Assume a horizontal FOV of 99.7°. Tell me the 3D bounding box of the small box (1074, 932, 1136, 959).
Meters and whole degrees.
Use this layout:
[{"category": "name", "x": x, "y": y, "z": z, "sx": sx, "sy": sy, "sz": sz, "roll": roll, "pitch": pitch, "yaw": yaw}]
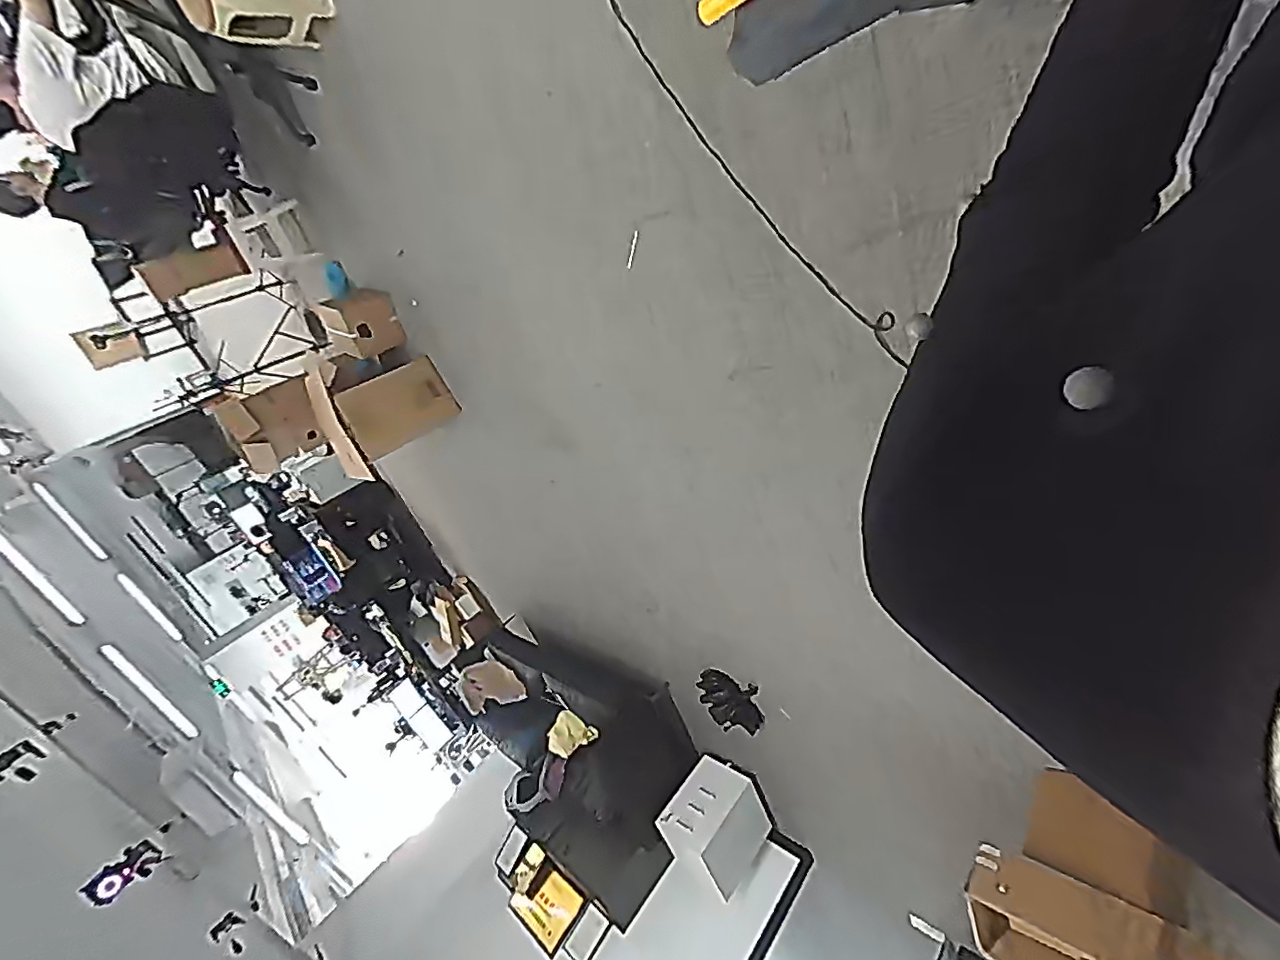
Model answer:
[{"category": "small box", "x": 1.291, "y": 1.405, "z": 1.481, "sx": 0.168, "sy": 0.176, "sz": 0.179, "roll": 12, "pitch": 131, "yaw": 42}]
